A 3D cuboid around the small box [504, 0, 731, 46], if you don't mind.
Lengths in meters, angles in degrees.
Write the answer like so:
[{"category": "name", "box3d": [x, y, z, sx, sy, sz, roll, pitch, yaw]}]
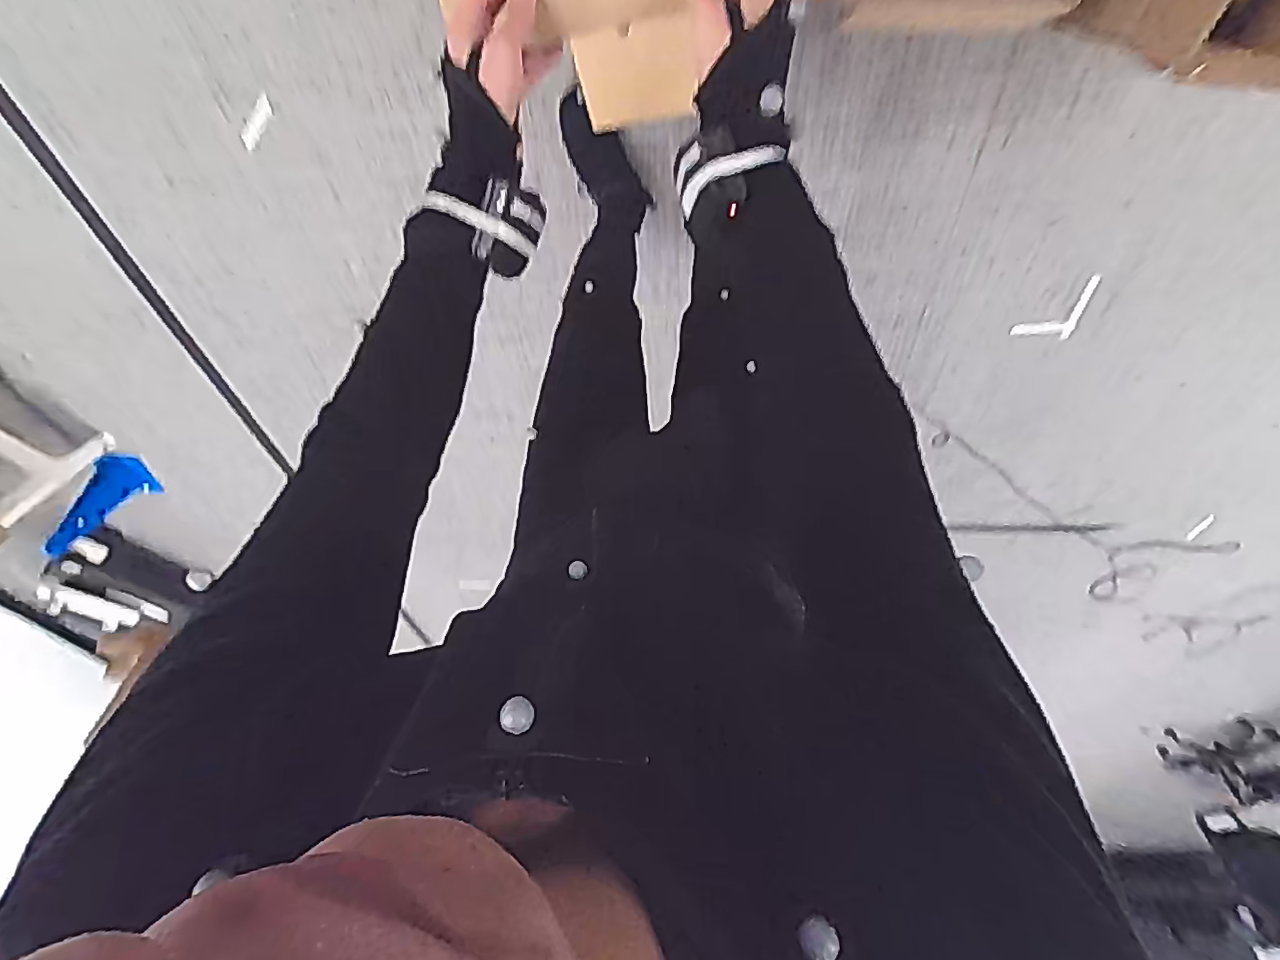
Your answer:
[{"category": "small box", "box3d": [-0.023, -0.468, 0.418, 0.179, 0.176, 0.168, -4, 141, 6]}]
